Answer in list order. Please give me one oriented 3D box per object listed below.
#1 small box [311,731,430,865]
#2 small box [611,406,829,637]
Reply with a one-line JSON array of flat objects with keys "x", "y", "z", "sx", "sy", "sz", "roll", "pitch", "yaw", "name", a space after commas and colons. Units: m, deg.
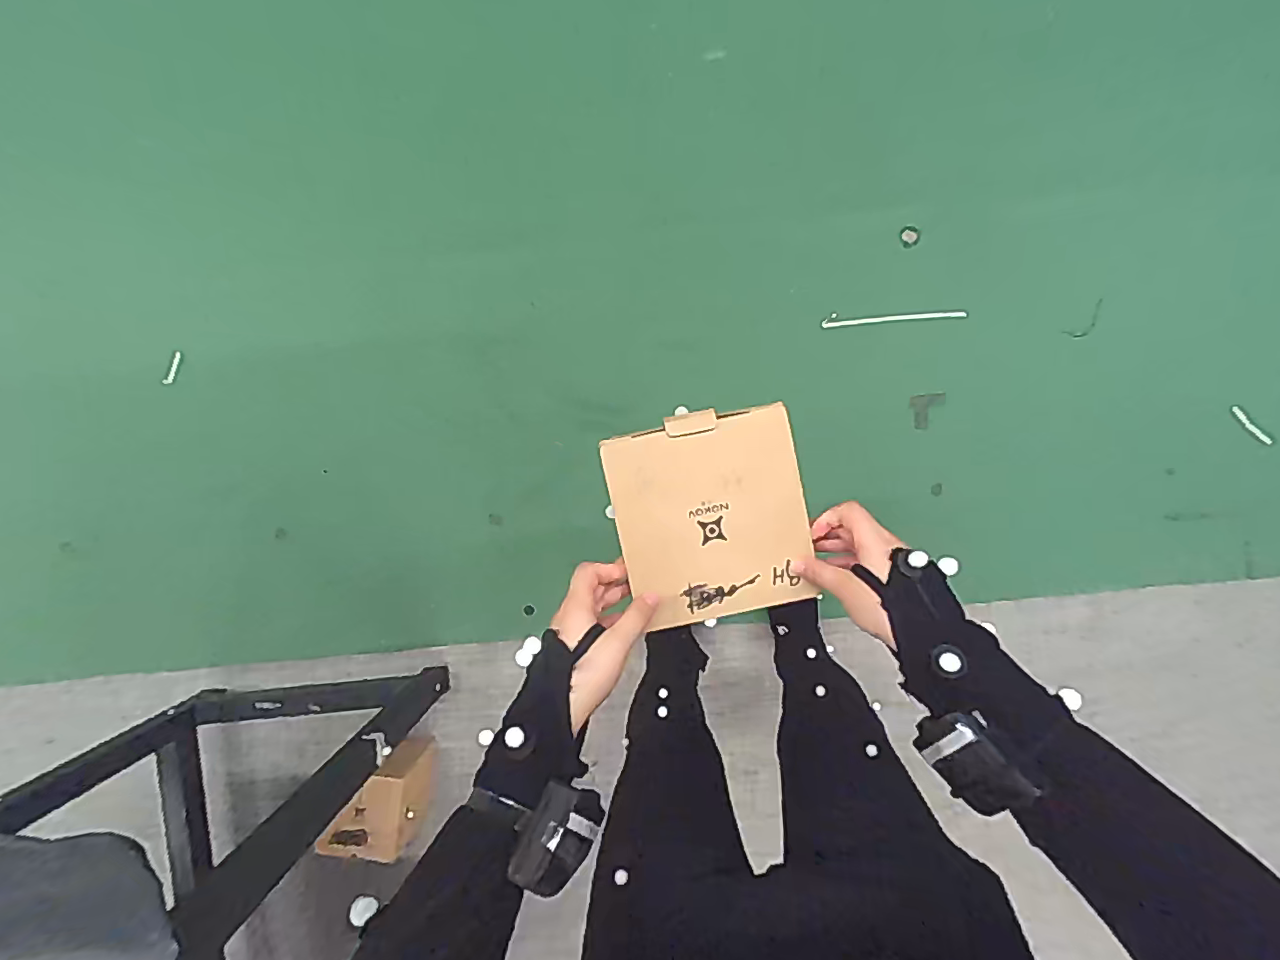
[{"x": -0.567, "y": 0.671, "z": 1.157, "sx": 0.168, "sy": 0.176, "sz": 0.179, "roll": 8, "pitch": 91, "yaw": 0, "name": "small box"}, {"x": 0.068, "y": 0.032, "z": 0.542, "sx": 0.168, "sy": 0.176, "sz": 0.179, "roll": -12, "pitch": 95, "yaw": 1, "name": "small box"}]
